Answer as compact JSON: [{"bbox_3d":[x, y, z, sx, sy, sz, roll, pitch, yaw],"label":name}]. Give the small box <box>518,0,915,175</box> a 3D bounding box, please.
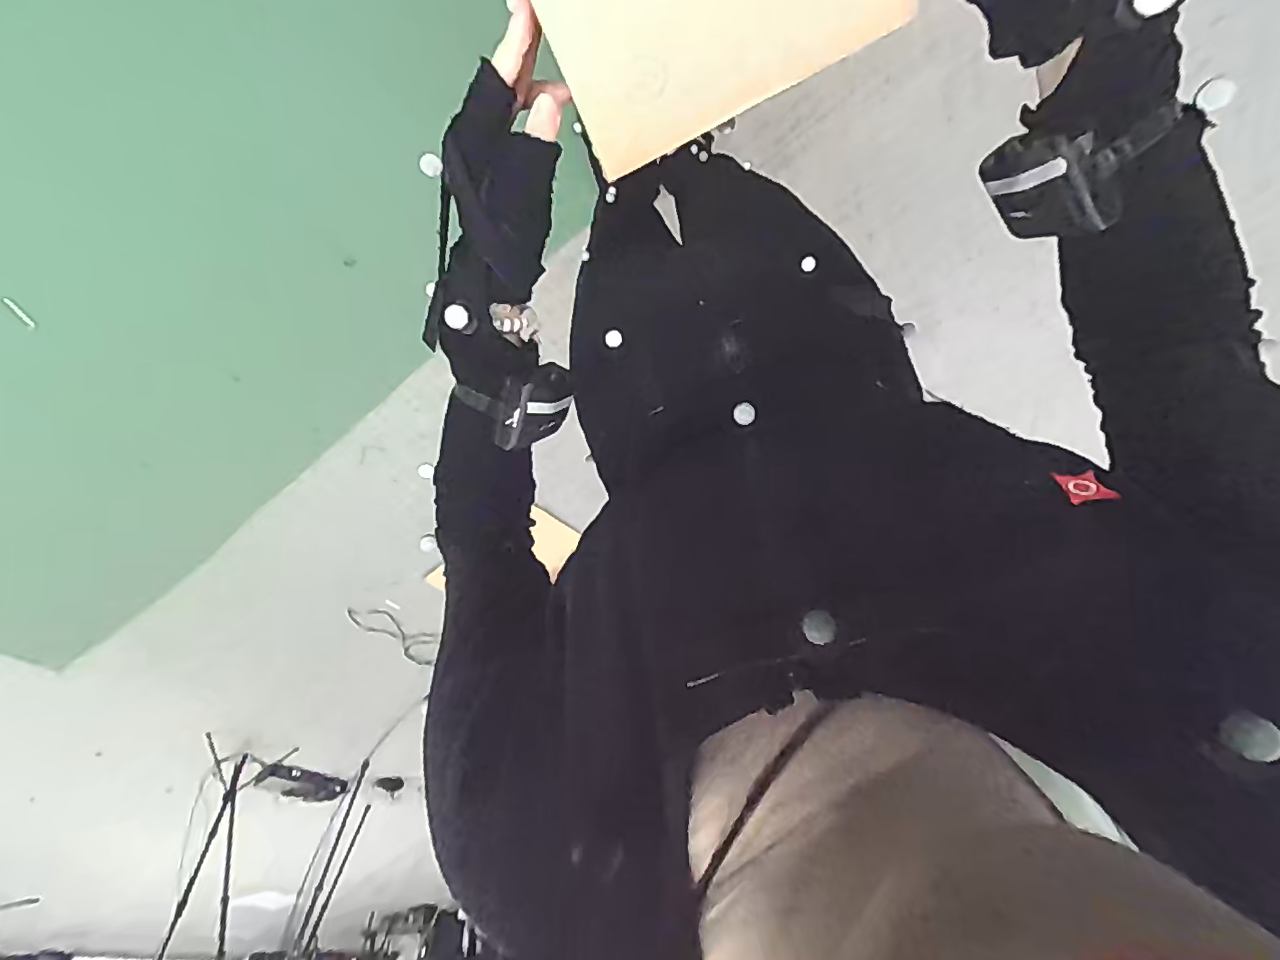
[{"bbox_3d":[0.016,-0.301,0.289,0.179,0.176,0.168,-22,131,11],"label":"small box"}]
